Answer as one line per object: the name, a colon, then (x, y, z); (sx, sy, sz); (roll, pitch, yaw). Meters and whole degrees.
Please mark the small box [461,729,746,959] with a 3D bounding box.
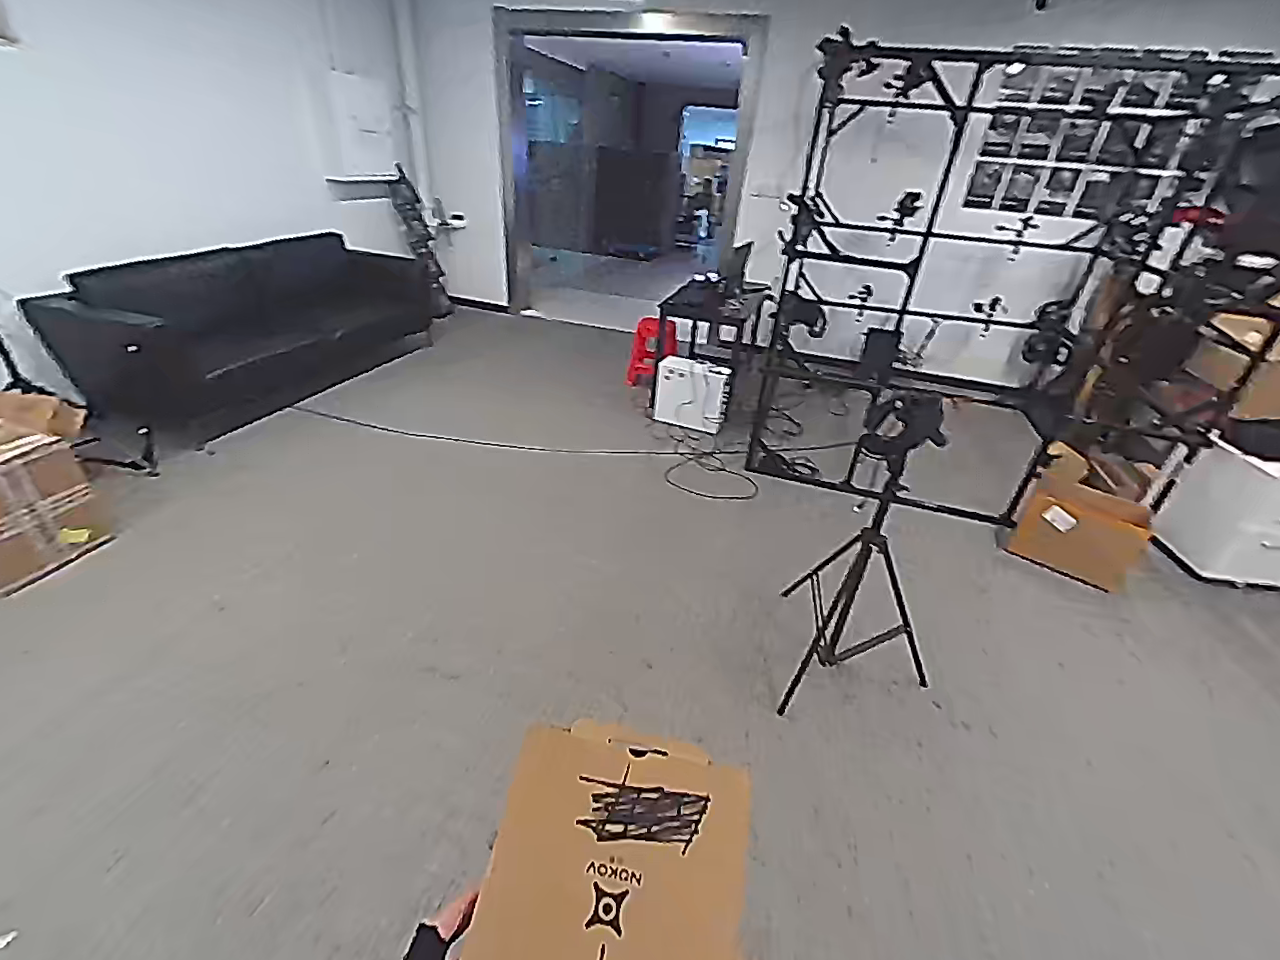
small box: (-0.025, 0.315, 0.408); (0.168, 0.176, 0.179); (11, 52, 4)
